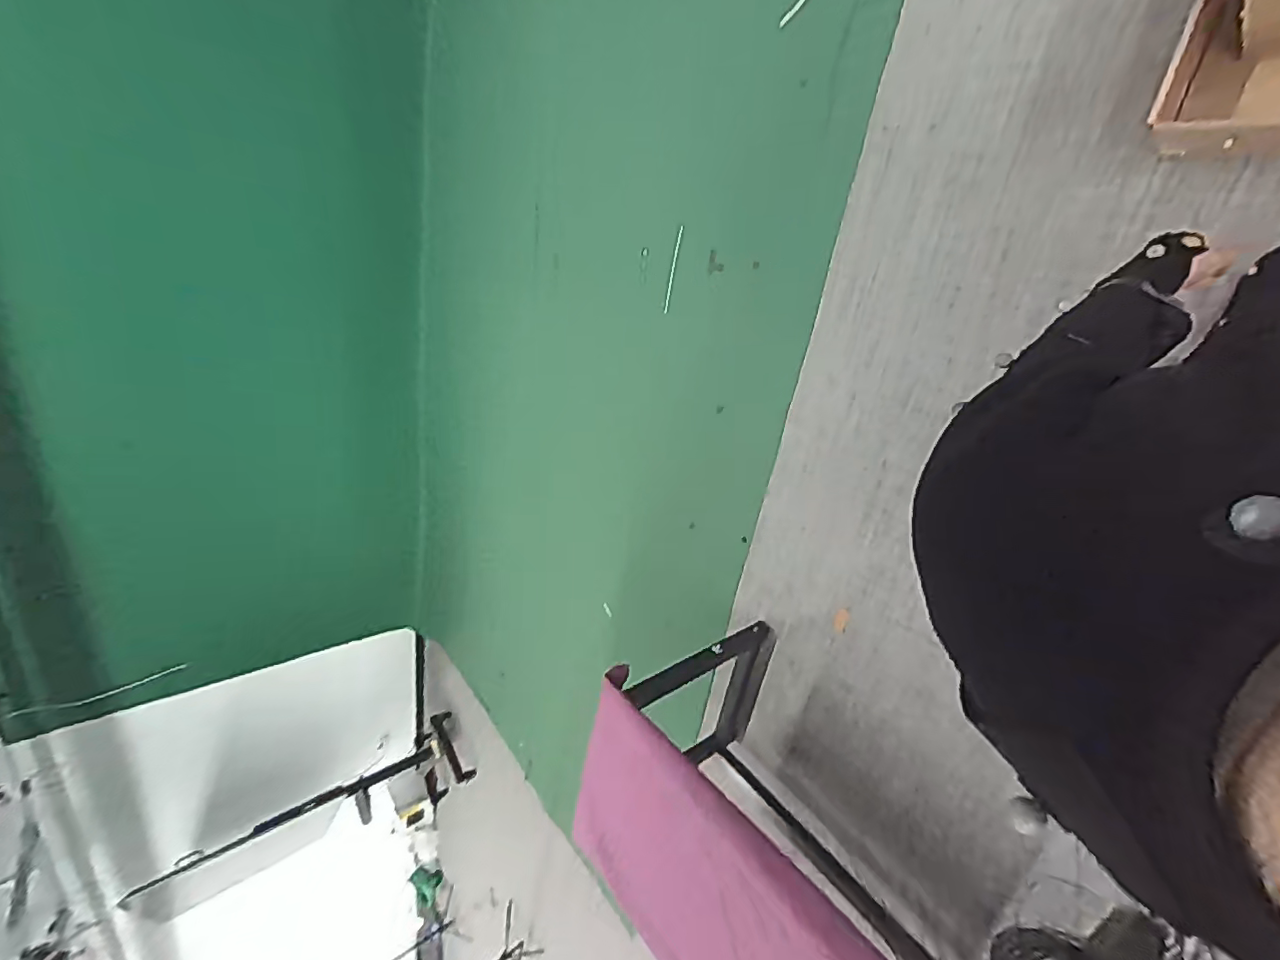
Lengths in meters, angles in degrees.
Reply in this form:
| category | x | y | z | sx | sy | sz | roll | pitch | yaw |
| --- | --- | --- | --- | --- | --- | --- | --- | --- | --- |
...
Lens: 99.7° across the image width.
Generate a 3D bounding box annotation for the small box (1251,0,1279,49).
| category | x | y | z | sx | sy | sz | roll | pitch | yaw |
| --- | --- | --- | --- | --- | --- | --- | --- | --- | --- |
| small box | 1.056 | -0.772 | 0.793 | 0.179 | 0.176 | 0.168 | 24 | 117 | 42 |
